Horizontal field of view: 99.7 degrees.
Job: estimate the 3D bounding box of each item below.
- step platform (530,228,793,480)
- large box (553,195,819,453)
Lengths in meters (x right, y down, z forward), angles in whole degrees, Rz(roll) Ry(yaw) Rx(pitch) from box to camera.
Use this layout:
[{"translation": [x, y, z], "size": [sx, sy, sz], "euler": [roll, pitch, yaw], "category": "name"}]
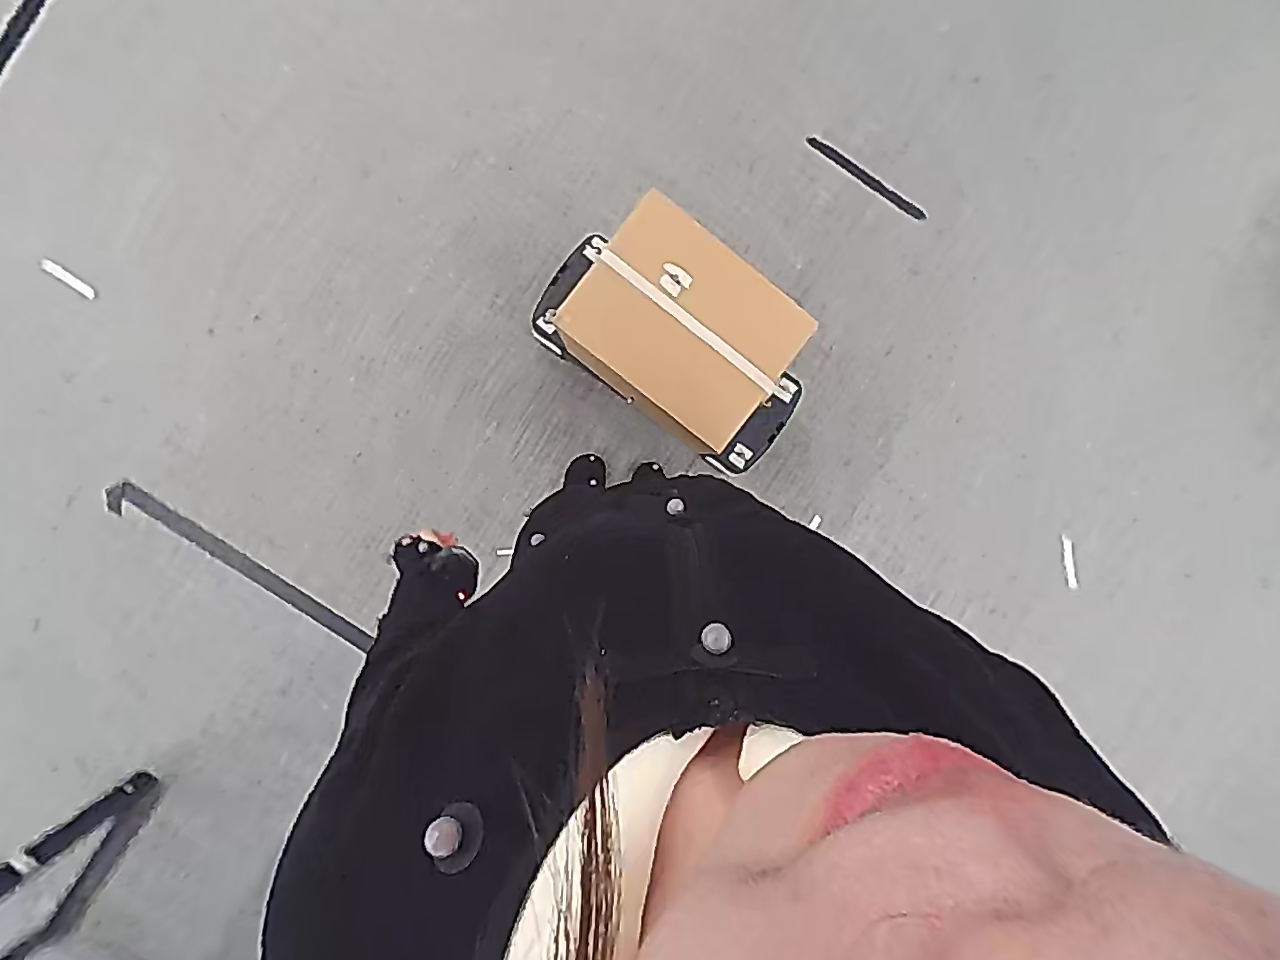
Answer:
[{"translation": [0.053, -0.307, 1.384], "size": [0.684, 0.204, 0.286], "euler": [40, 91, -3], "category": "step platform"}, {"translation": [0.086, -0.292, 1.147], "size": [0.408, 0.320, 0.320], "euler": [38, 90, -3], "category": "large box"}]
